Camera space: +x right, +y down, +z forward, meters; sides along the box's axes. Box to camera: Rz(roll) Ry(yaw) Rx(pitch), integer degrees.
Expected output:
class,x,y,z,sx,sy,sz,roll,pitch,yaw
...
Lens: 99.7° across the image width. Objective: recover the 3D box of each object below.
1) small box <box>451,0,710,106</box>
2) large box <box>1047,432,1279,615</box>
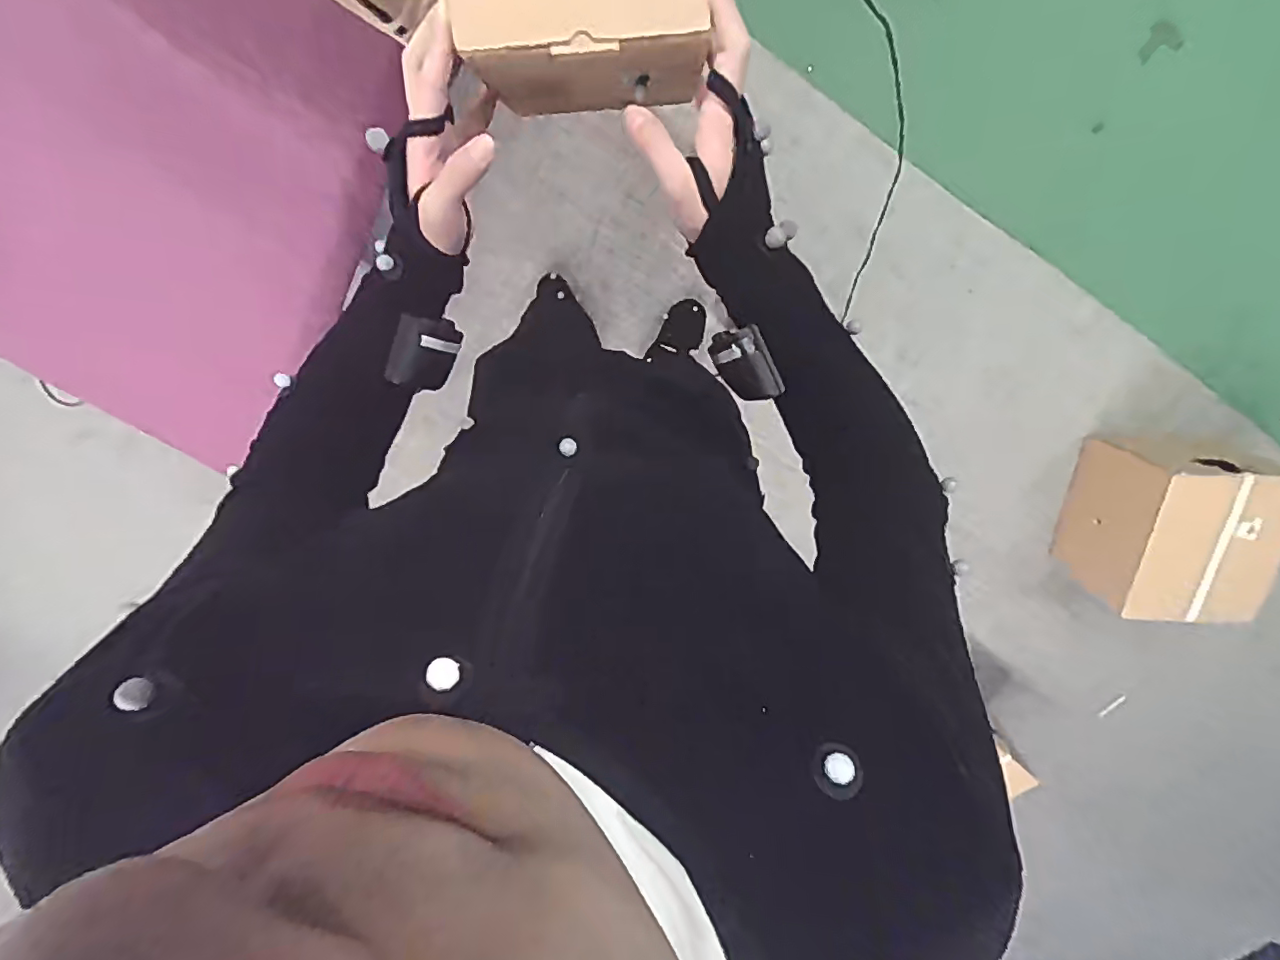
class,x,y,z,sx,sy,sz,roll,pitch,yaw
small box,-0.038,-0.387,0.386,0.168,0.176,0.179,-3,113,1
large box,1.384,0.105,1.453,0.320,0.320,0.408,0,111,4
